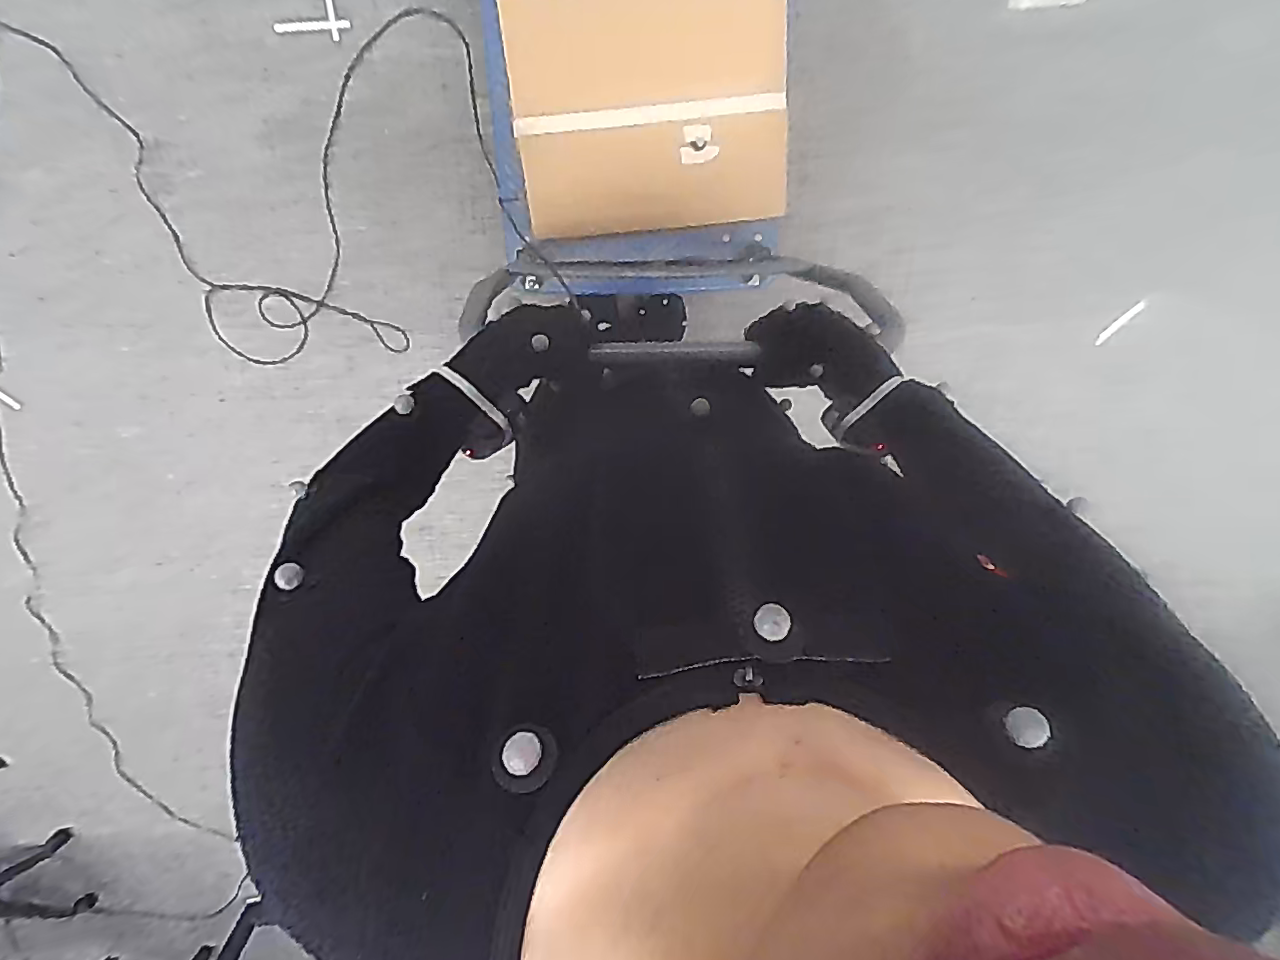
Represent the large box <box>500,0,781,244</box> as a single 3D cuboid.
[{"bbox_3d":[0.003,-0.609,0.953,0.408,0.320,0.320,-7,113,-2],"label":"large box"}]
